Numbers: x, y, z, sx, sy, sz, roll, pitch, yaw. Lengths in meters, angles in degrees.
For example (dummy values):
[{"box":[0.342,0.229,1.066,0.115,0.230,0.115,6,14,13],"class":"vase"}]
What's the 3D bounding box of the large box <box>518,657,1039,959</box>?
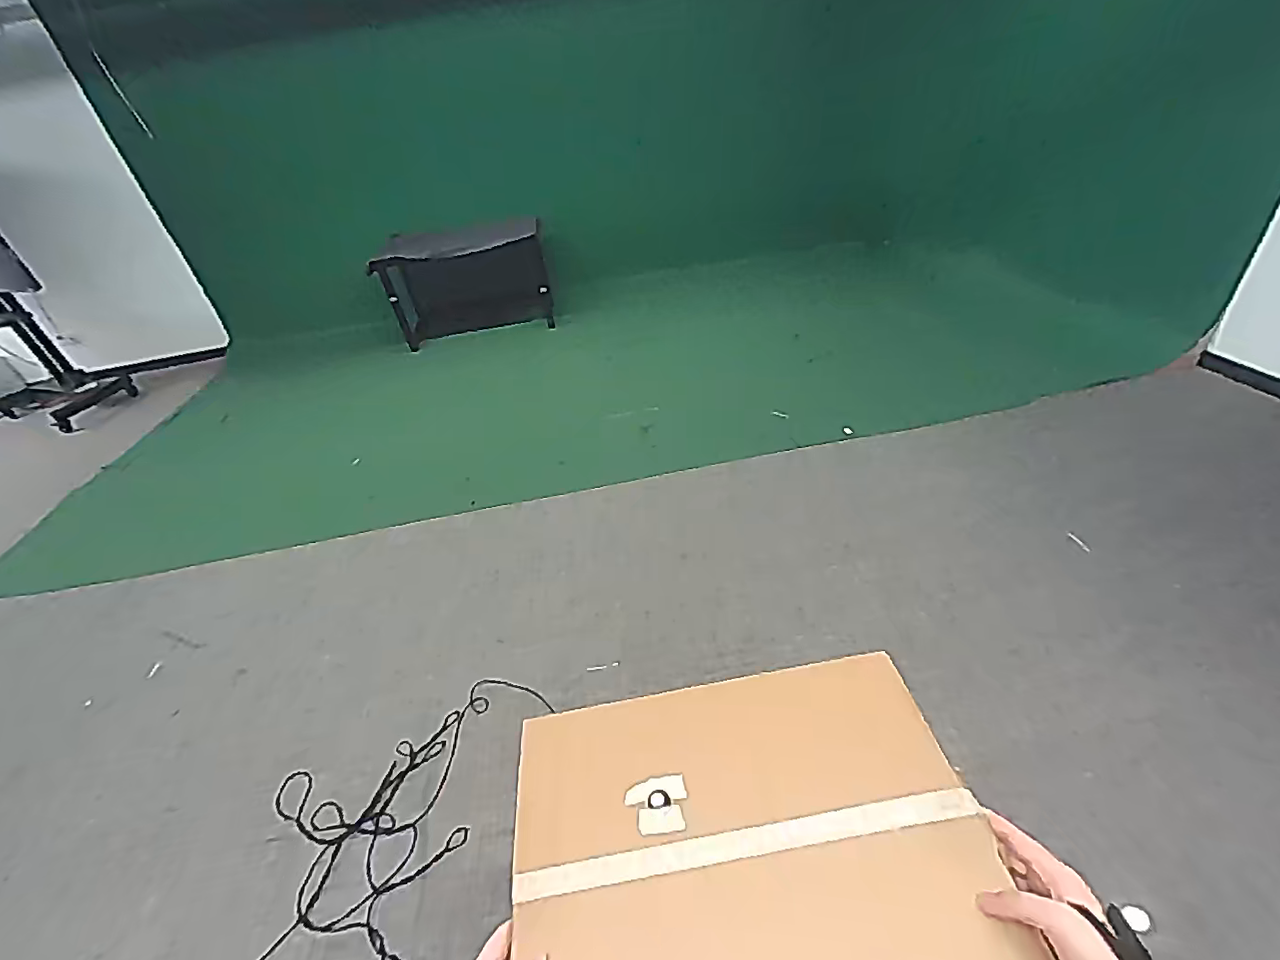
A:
[{"box":[0.116,0.443,0.573,0.408,0.320,0.320,-13,39,2],"class":"large box"}]
